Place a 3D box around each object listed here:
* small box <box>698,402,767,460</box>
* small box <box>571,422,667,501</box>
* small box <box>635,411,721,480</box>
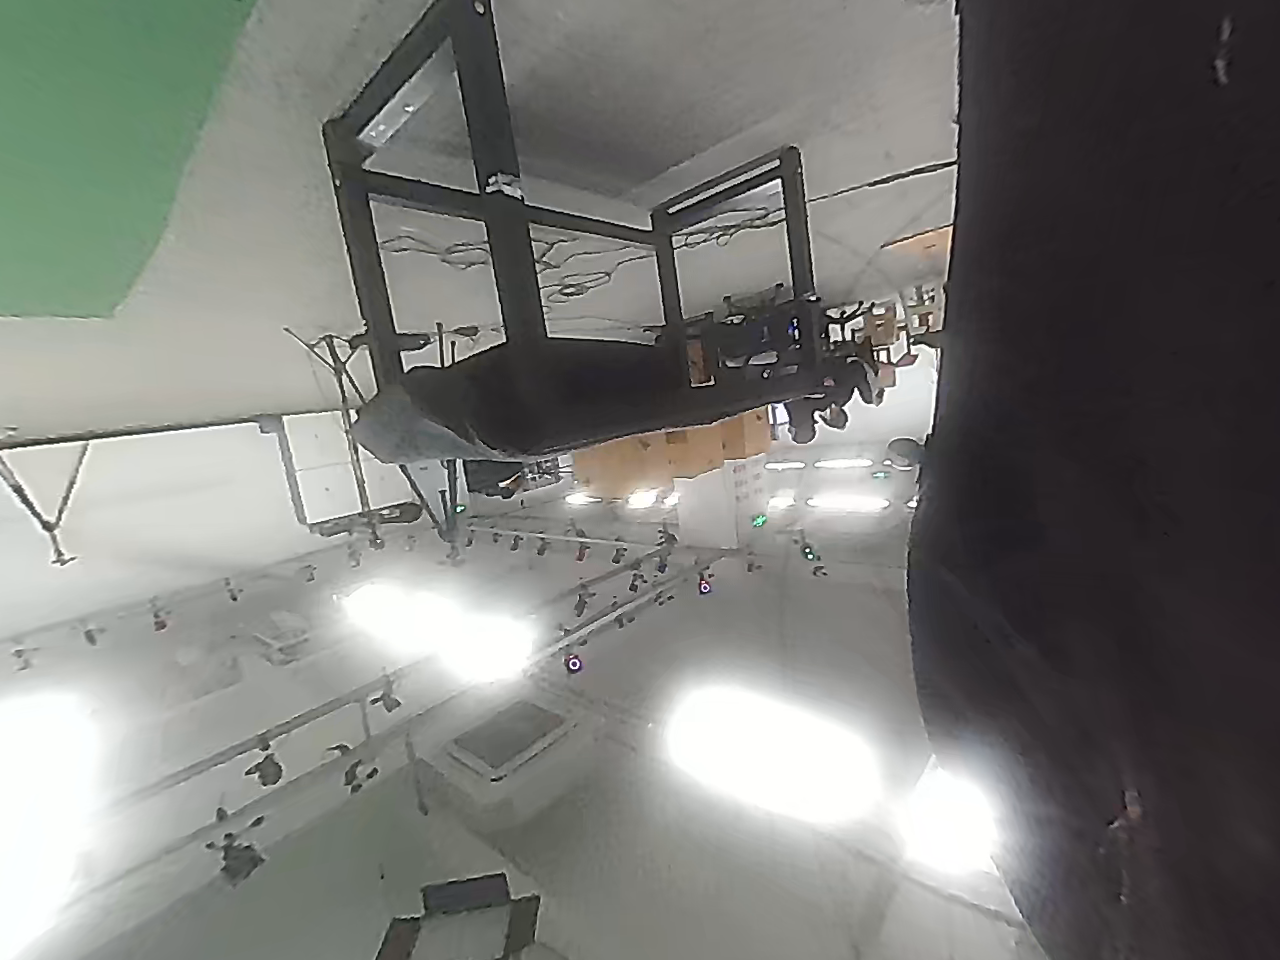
[{"bbox_3d":[0.288,-0.158,1.728,0.179,0.176,0.168,0,-169,42],"label":"small box"},{"bbox_3d":[-0.055,-0.050,1.337,0.179,0.176,0.168,0,-168,42],"label":"small box"},{"bbox_3d":[0.104,-0.100,1.513,0.179,0.176,0.168,0,-169,41],"label":"small box"}]
